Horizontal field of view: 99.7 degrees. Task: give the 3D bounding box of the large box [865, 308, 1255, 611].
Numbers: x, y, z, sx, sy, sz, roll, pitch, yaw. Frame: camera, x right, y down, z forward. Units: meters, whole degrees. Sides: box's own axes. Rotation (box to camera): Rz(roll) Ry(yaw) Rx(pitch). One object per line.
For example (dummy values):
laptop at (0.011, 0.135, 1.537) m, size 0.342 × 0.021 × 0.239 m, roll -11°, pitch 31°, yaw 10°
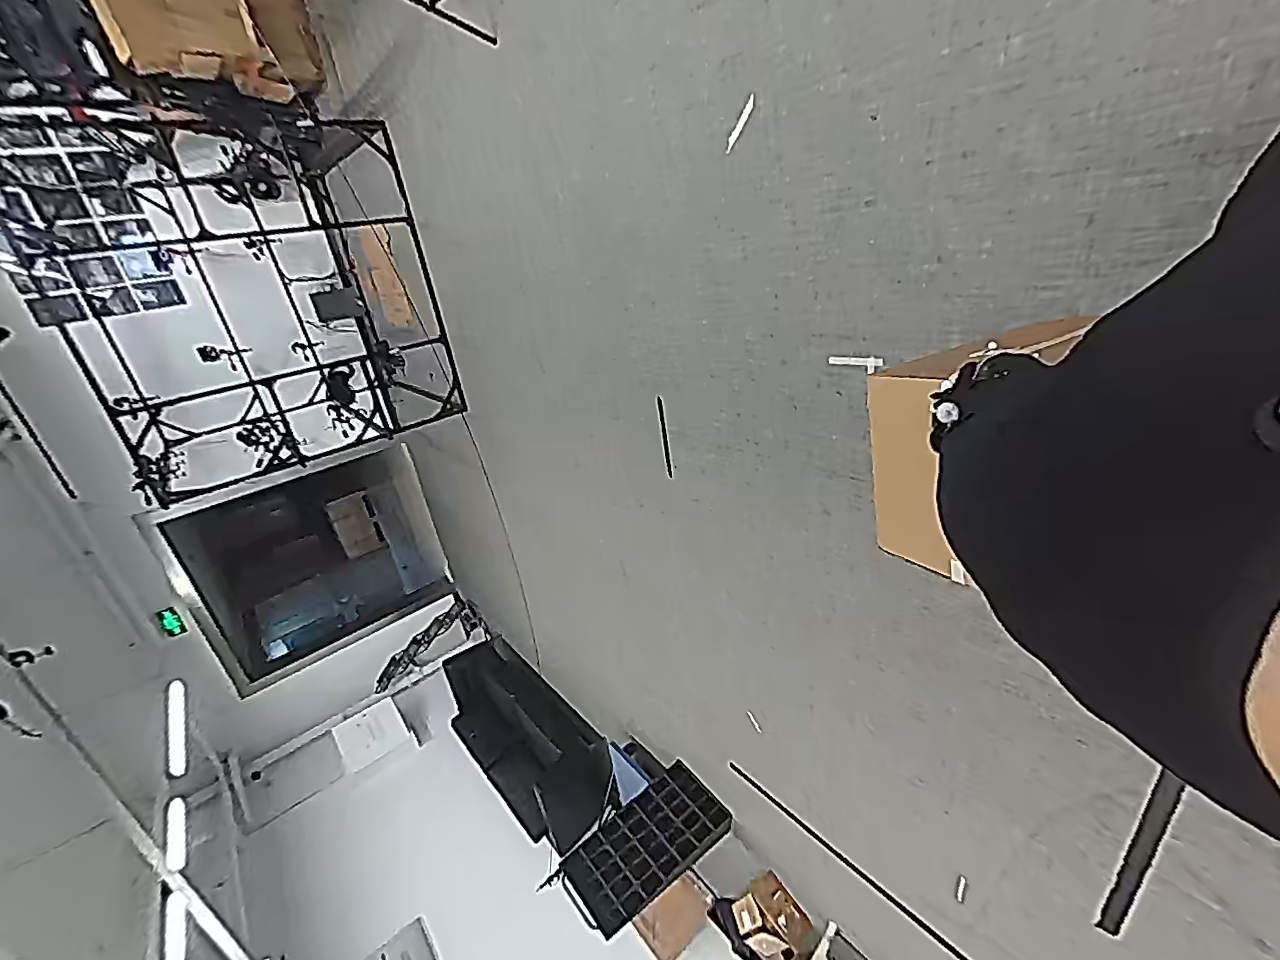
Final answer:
large box at (0.622, -0.062, 0.839) m, size 0.320 × 0.408 × 0.320 m, roll 27°, pitch 133°, yaw 63°
